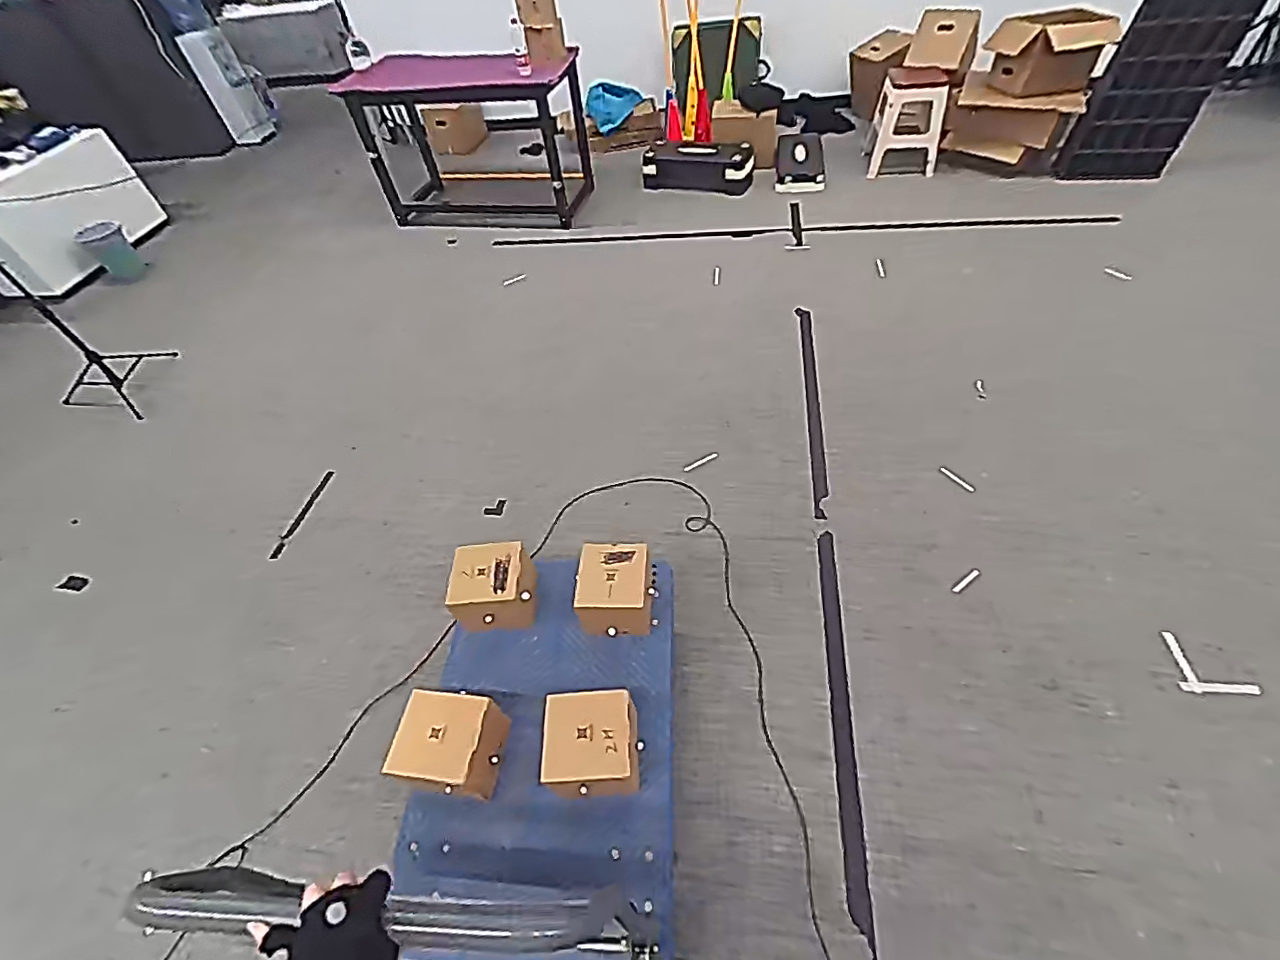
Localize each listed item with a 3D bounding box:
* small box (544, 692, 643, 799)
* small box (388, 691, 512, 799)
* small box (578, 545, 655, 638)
[{"bbox_3d":[-0.091,0.560,1.134,0.179,0.176,0.168,-5,50,3],"label":"small box"},{"bbox_3d":[-0.398,0.573,1.165,0.179,0.176,0.168,3,51,8],"label":"small box"},{"bbox_3d":[-0.052,0.280,1.362,0.168,0.176,0.179,-1,52,7],"label":"small box"}]
